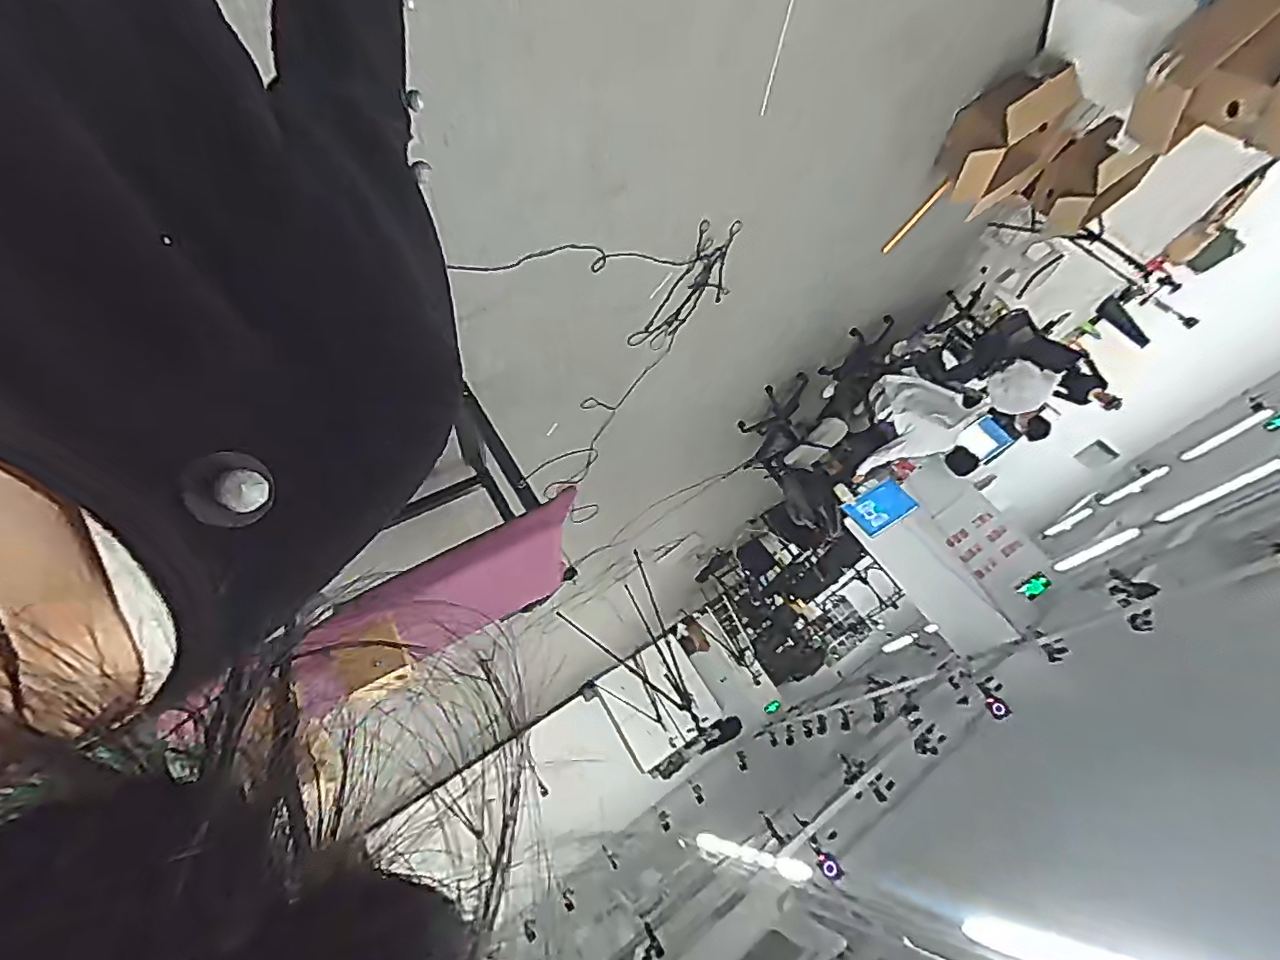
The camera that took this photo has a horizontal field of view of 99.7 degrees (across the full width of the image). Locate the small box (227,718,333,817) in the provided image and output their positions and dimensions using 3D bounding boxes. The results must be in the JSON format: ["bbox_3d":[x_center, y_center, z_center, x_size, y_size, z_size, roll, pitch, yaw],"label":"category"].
[{"bbox_3d":[-0.954,0.760,1.436,0.168,0.176,0.179,-25,157,-26],"label":"small box"}]

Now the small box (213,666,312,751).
[{"bbox_3d":[-1.050,0.645,1.508,0.168,0.176,0.179,-24,156,-29],"label":"small box"}]

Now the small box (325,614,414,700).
[{"bbox_3d":[-0.809,0.529,1.624,0.179,0.176,0.168,-25,157,-25],"label":"small box"}]
